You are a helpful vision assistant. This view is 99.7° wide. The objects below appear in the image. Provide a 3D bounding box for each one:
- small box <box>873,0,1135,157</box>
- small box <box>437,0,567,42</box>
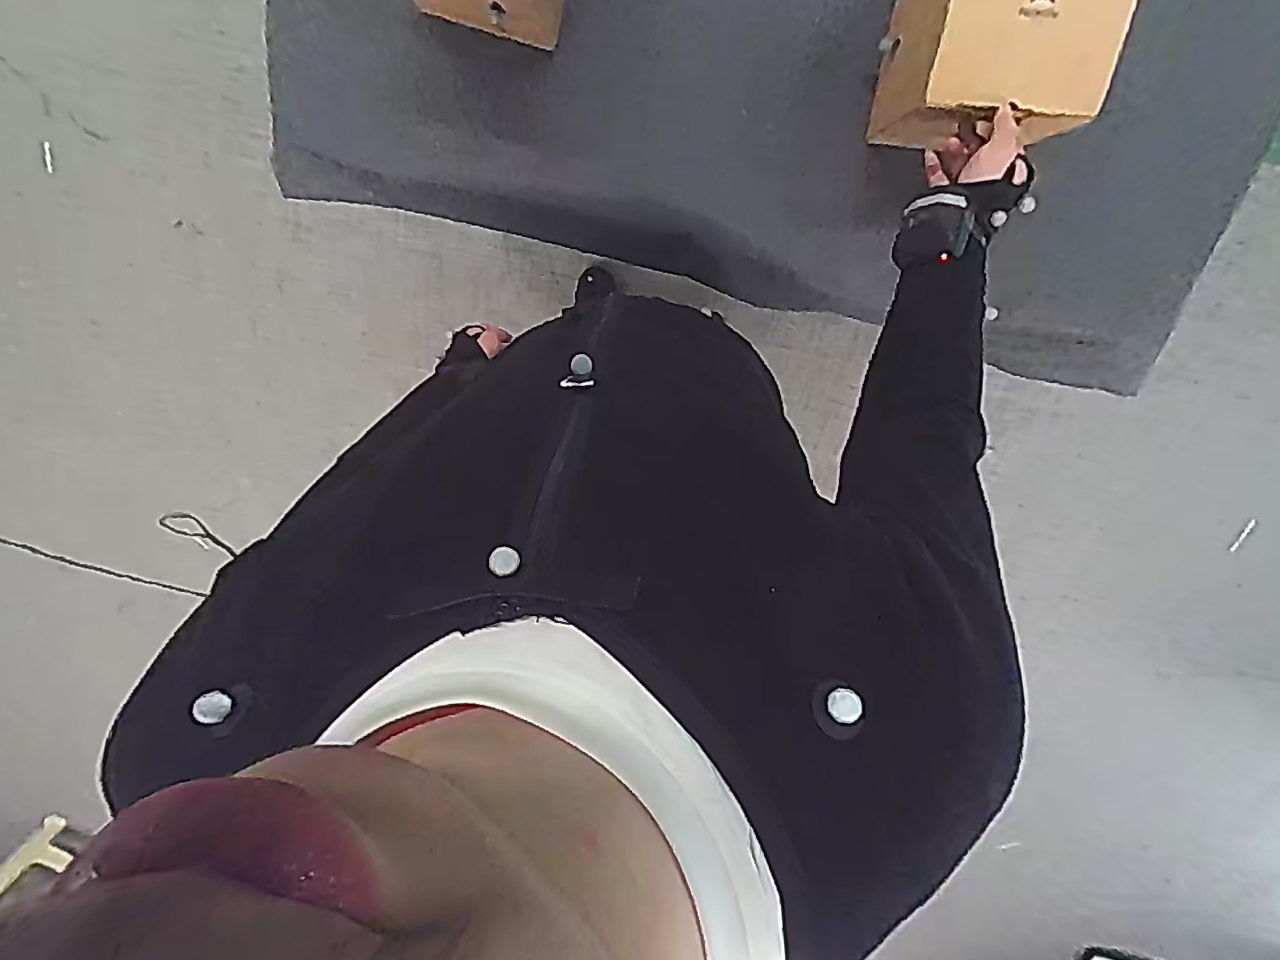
[{"bbox_3d":[0.367,-0.457,0.568,0.168,0.176,0.179,7,111,-1],"label":"small box"},{"bbox_3d":[-0.154,-0.589,0.540,0.168,0.176,0.179,15,109,-5],"label":"small box"}]
